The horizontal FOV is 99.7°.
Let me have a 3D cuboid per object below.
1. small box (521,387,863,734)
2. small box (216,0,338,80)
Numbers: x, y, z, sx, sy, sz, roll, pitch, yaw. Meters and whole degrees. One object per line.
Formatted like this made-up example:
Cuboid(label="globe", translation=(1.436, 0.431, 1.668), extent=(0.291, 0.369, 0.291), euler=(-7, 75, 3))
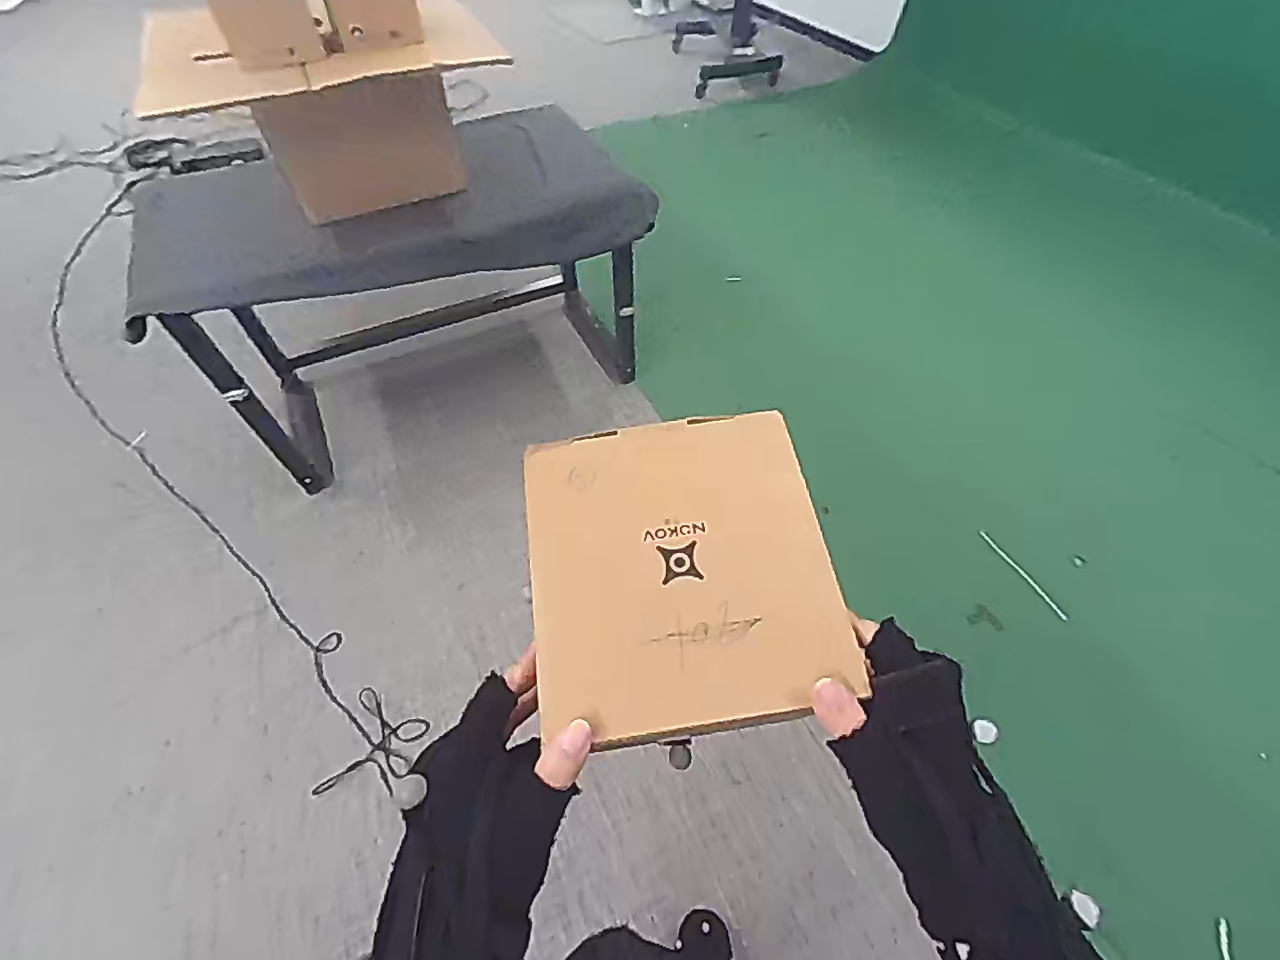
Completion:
Cuboid(label="small box", translation=(0.018, 0.064, 0.369), extent=(0.168, 0.176, 0.179), euler=(-8, 63, -3))
Cuboid(label="small box", translation=(-0.732, -0.930, 1.080), extent=(0.168, 0.176, 0.179), euler=(-22, 56, -14))
